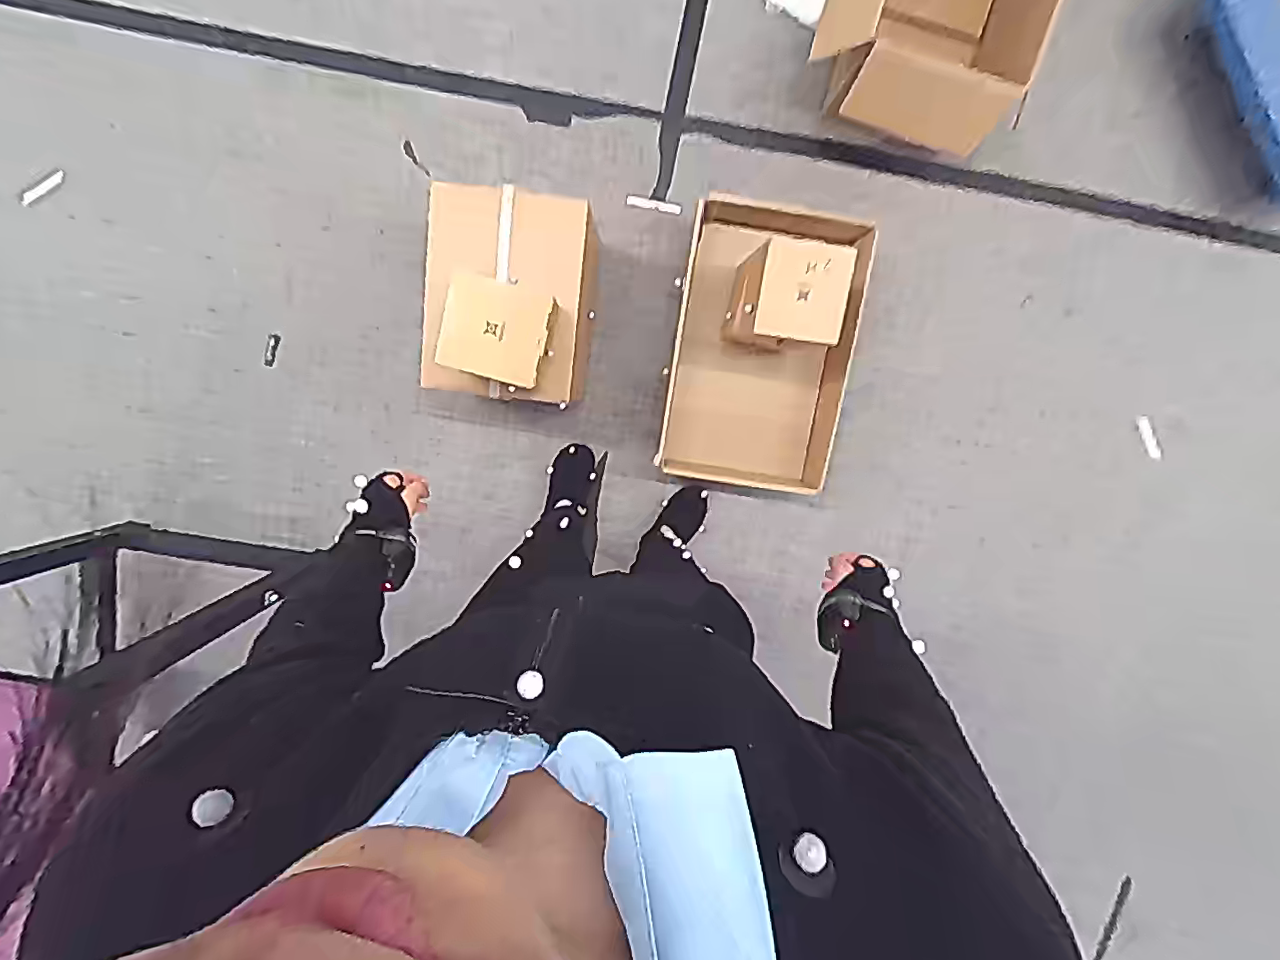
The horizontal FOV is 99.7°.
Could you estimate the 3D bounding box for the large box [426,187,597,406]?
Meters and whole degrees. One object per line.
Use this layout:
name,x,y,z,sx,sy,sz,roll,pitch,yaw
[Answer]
large box,-0.274,-0.391,1.234,0.320,0.320,0.408,7,100,0

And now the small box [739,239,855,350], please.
small box,0.304,-0.363,1.090,0.168,0.176,0.179,8,101,-3
